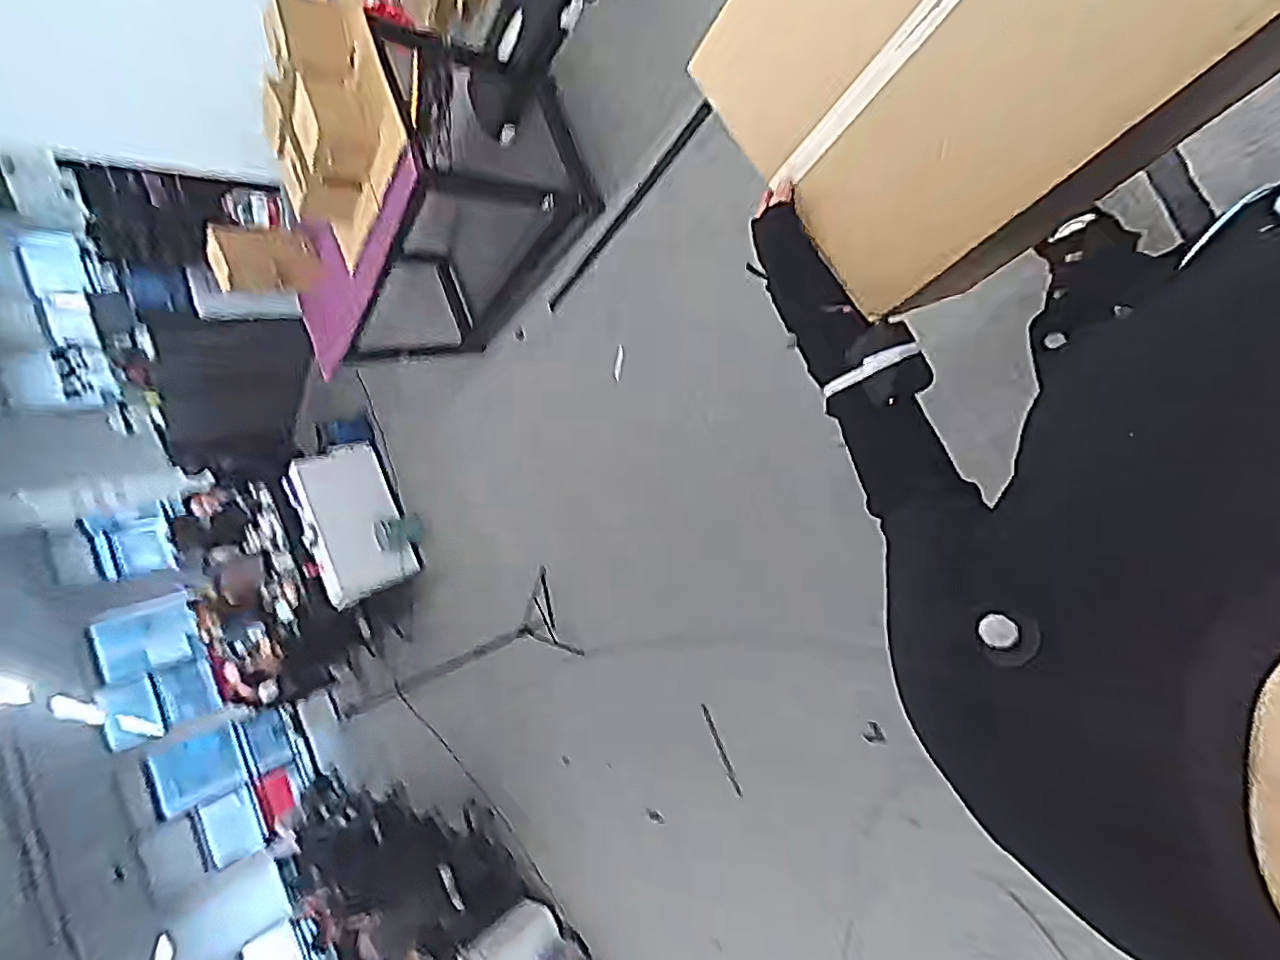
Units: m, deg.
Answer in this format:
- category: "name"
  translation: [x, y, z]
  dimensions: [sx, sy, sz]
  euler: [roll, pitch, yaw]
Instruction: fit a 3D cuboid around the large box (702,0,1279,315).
- category: "large box"
  translation: [0.340, -0.408, 0.479]
  dimensions: [0.408, 0.320, 0.320]
  euler: [-40, 80, 45]
